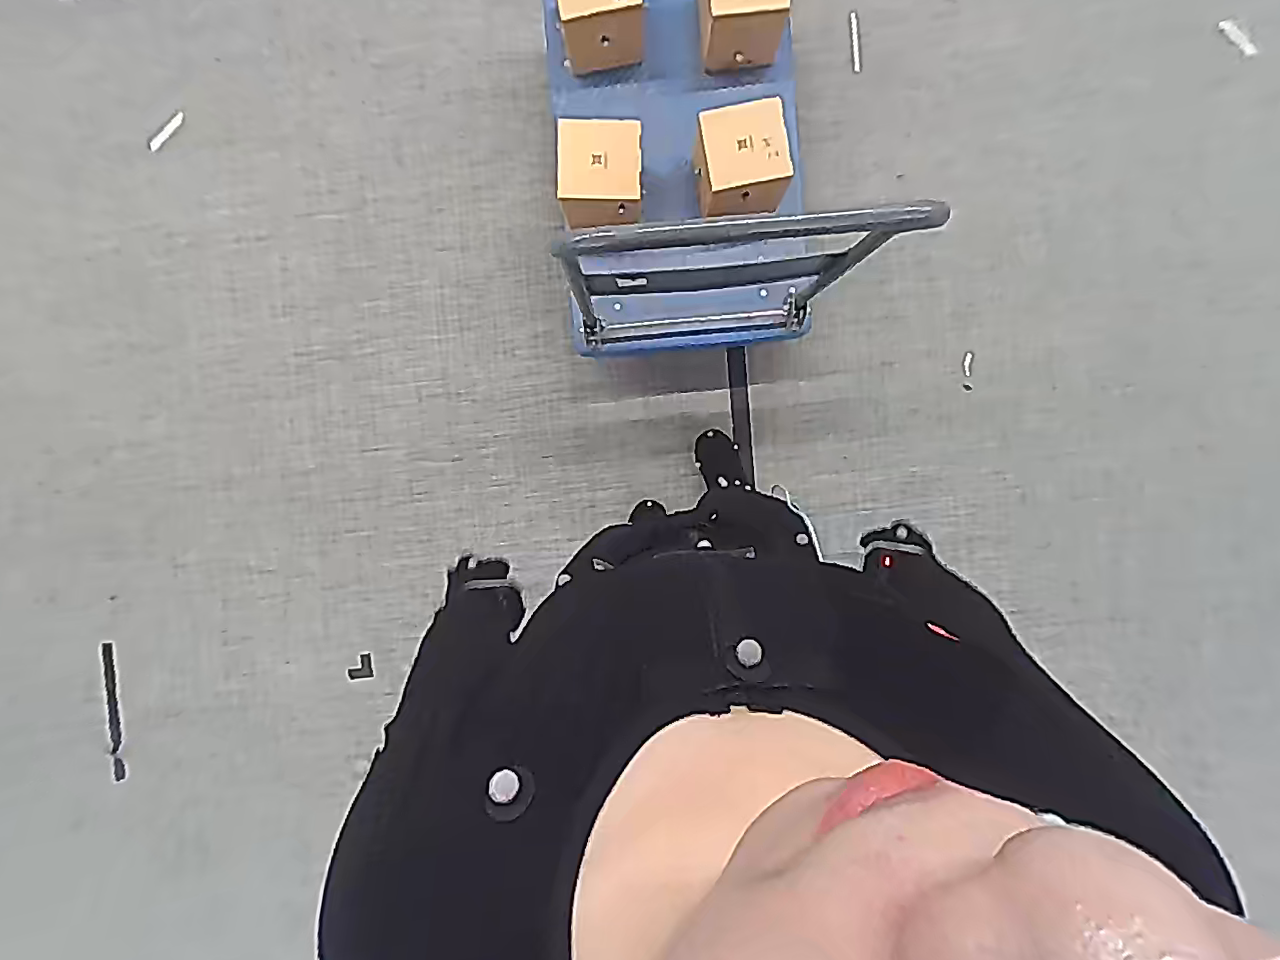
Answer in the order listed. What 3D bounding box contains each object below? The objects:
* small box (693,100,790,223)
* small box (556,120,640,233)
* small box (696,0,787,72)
[{"bbox_3d":[0.217,-0.701,1.209,0.179,0.176,0.168,-11,92,1],"label":"small box"},{"bbox_3d":[-0.089,-0.671,1.212,0.179,0.176,0.168,0,92,-1],"label":"small box"},{"bbox_3d":[0.217,-1.053,1.194,0.168,0.176,0.179,-5,93,1],"label":"small box"}]
